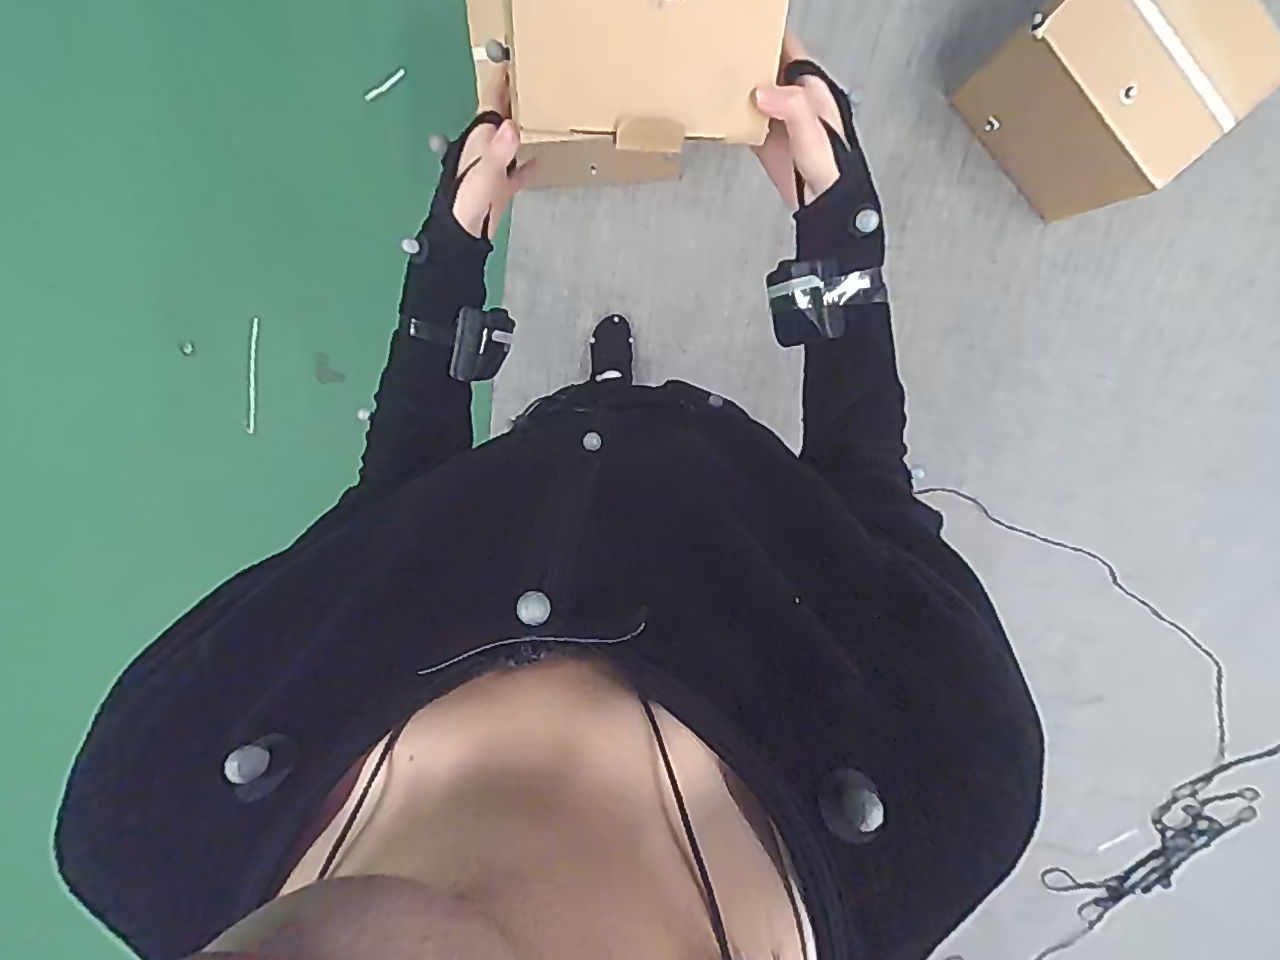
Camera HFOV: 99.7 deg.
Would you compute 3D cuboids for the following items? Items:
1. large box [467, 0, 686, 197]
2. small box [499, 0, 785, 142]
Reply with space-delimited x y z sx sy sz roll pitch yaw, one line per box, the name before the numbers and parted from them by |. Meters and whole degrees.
large box | -0.112 -0.836 1.177 0.408 0.320 0.320 -3 102 3
small box | -0.009 -0.337 0.362 0.168 0.176 0.179 -4 123 -13
